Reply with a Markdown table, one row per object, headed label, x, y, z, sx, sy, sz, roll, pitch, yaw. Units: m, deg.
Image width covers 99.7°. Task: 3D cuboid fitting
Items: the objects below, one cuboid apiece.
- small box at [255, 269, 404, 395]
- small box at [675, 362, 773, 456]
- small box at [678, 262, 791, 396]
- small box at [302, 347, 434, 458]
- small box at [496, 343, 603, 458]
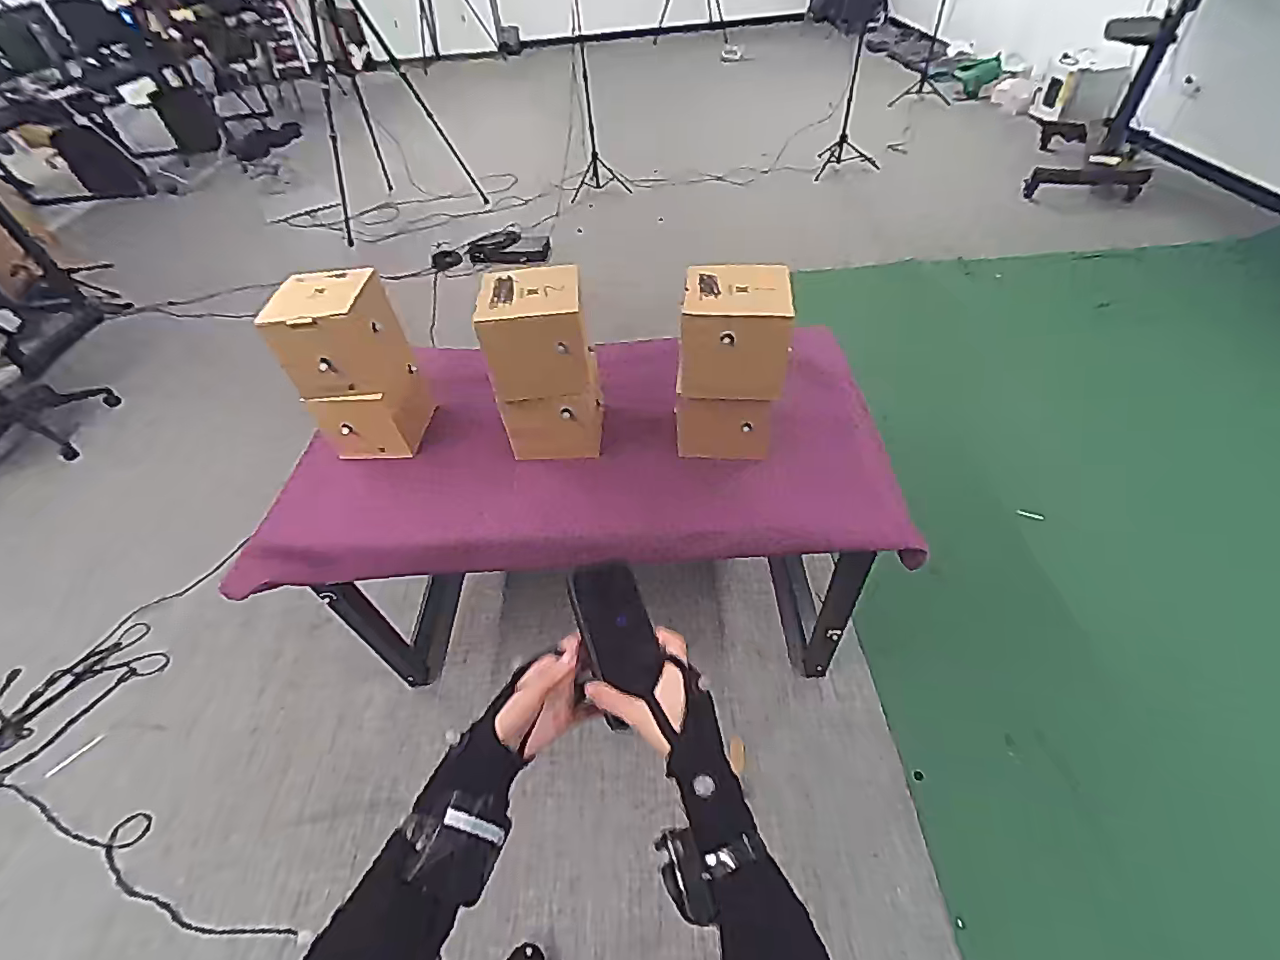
| label | x | y | z | sx | sy | sz | roll | pitch | yaw |
| --- | --- | --- | --- | --- | --- | --- | --- | --- | --- |
| small box | -0.575 | -0.277 | 1.034 | 0.168 | 0.176 | 0.179 | -5 | 48 | 0 |
| small box | 0.166 | -0.161 | 1.073 | 0.179 | 0.176 | 0.168 | 2 | 47 | 9 |
| small box | 0.161 | -0.261 | 0.943 | 0.179 | 0.176 | 0.168 | 3 | 47 | 8 |
| small box | -0.562 | -0.159 | 1.148 | 0.168 | 0.176 | 0.179 | -2 | 47 | 4 |
| small box | -0.174 | -0.160 | 1.106 | 0.179 | 0.176 | 0.168 | -2 | 47 | 4 |
